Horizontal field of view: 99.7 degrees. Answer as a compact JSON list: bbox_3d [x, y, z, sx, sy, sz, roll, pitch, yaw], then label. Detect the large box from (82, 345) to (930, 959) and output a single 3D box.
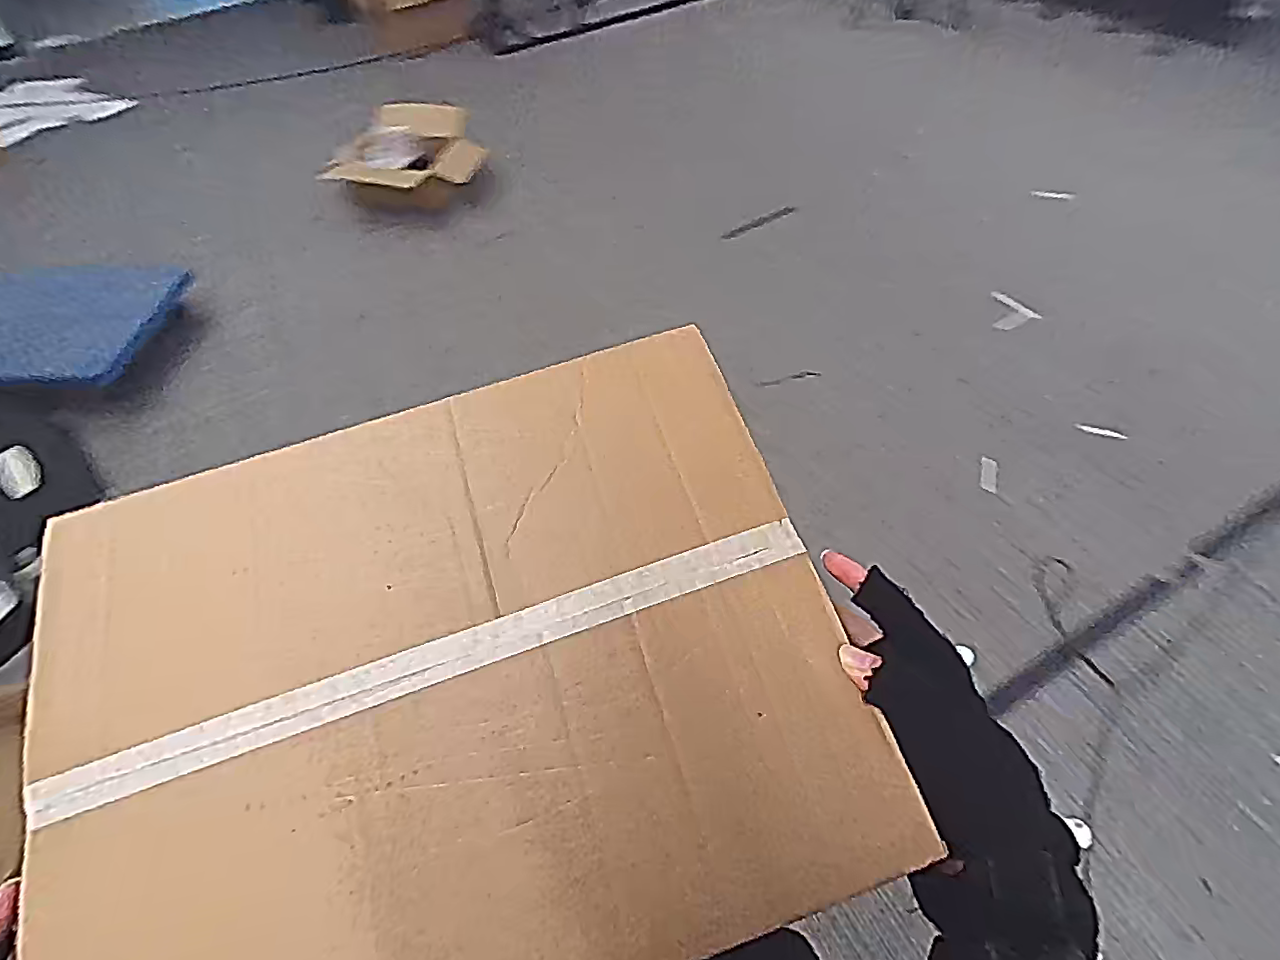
[{"bbox_3d":[-0.087,0.157,0.433,0.408,0.320,0.320,-17,69,-5],"label":"large box"}]
